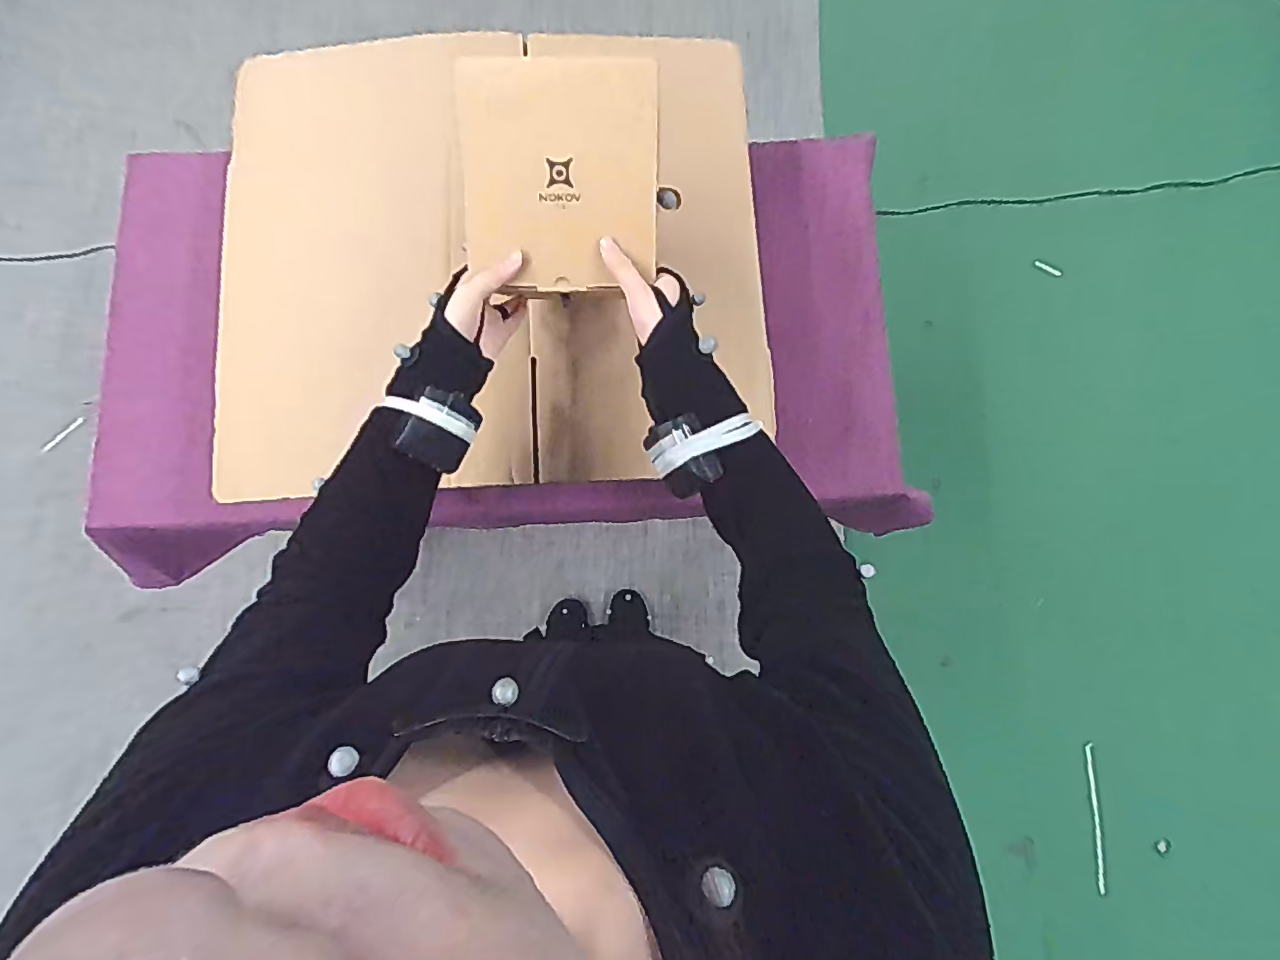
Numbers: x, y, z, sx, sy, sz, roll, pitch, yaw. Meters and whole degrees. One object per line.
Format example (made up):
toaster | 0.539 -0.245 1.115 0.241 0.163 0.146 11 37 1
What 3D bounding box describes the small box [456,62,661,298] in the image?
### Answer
small box | -0.066 -0.272 0.529 0.168 0.176 0.179 1 109 1
